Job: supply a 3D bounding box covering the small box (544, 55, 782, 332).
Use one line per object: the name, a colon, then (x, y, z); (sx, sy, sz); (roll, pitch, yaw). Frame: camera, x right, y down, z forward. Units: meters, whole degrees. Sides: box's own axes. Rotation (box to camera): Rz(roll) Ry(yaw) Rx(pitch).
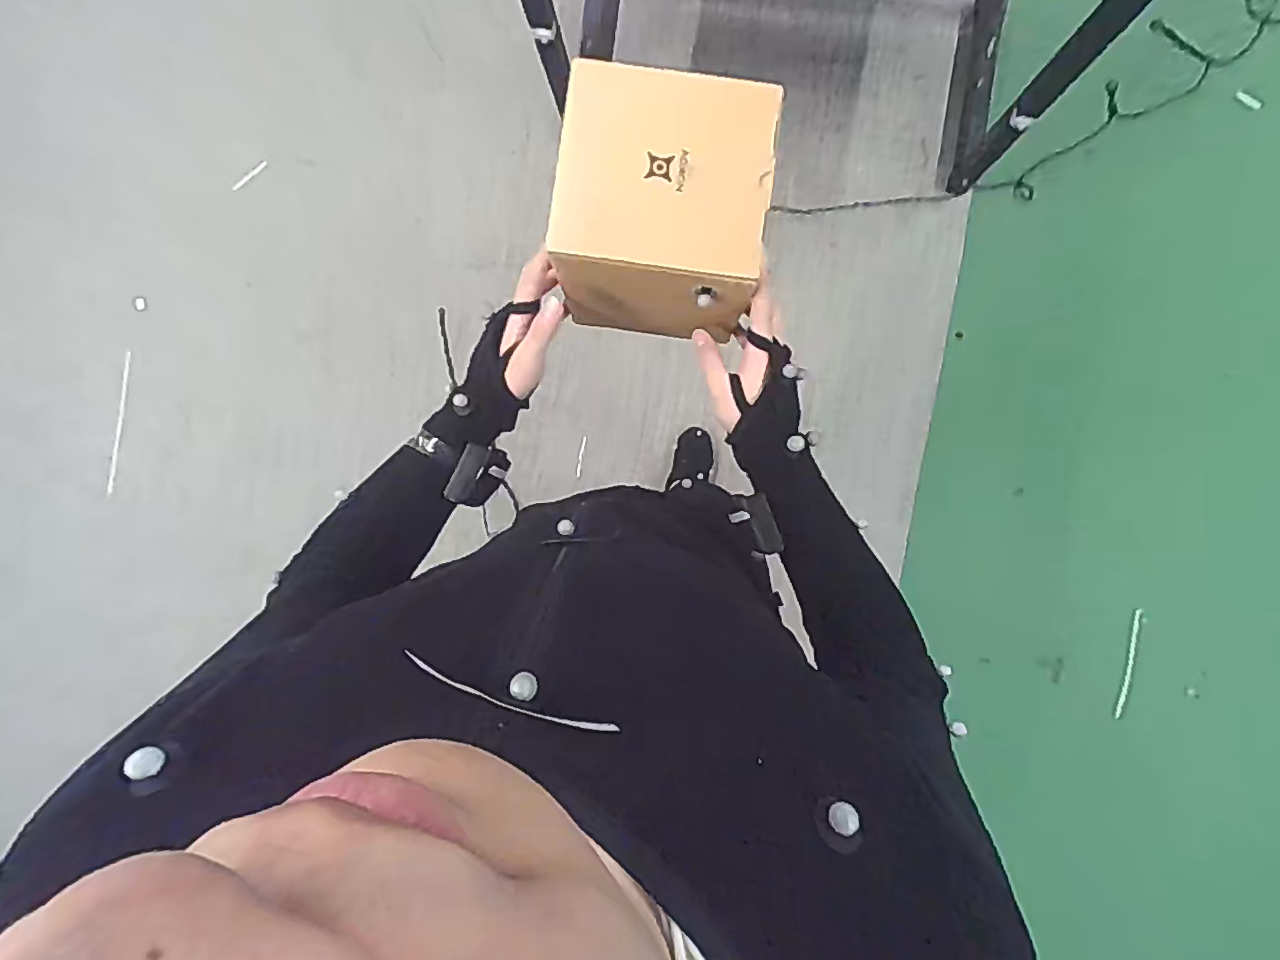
small box: (0.021, -0.253, 0.516); (0.179, 0.176, 0.168); (8, 88, 1)
